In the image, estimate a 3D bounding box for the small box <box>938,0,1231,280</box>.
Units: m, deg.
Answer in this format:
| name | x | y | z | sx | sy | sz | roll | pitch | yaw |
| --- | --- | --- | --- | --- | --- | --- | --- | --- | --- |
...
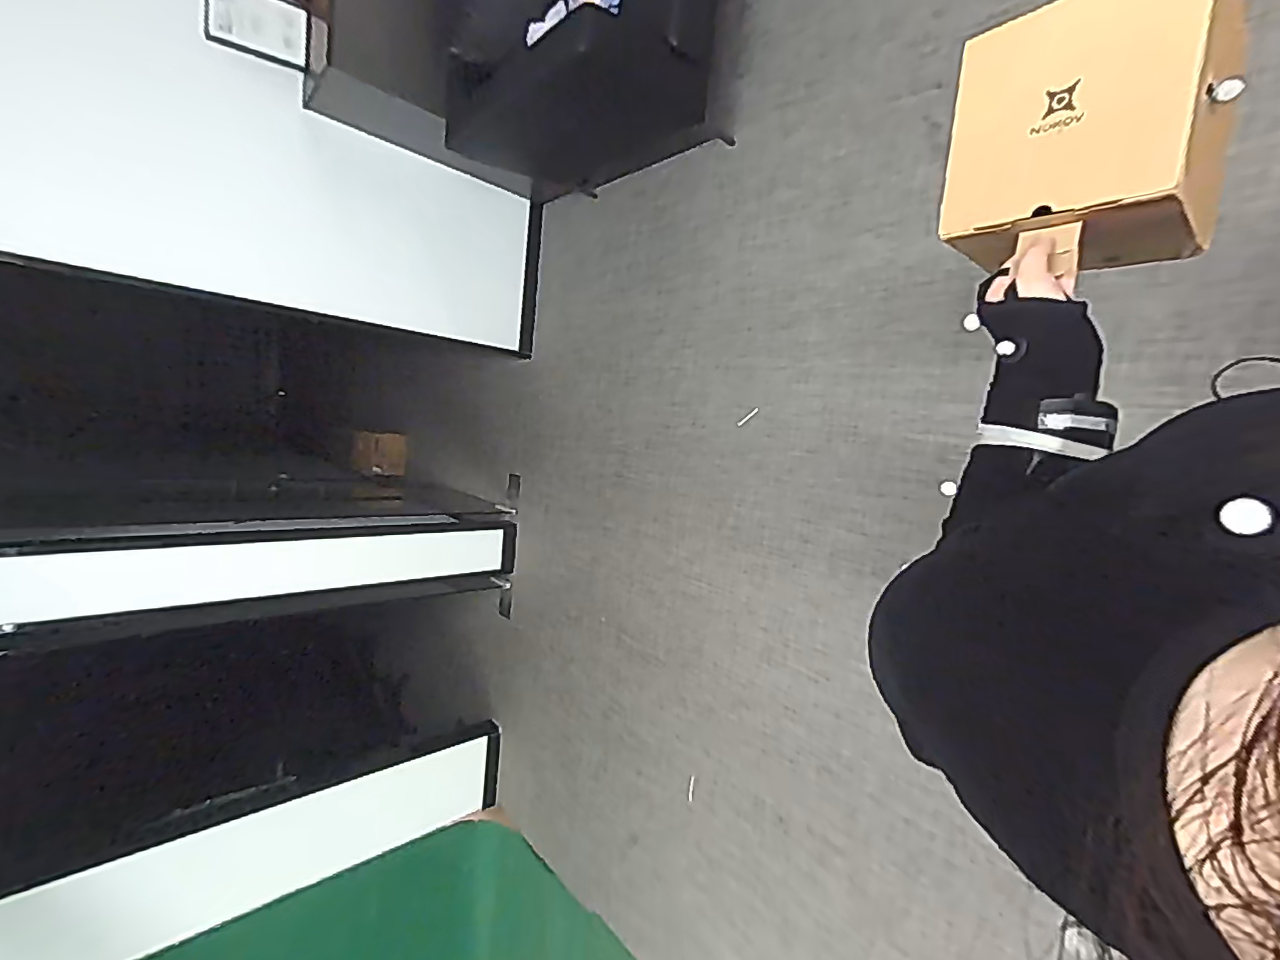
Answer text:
| name | x | y | z | sx | sy | sz | roll | pitch | yaw |
| --- | --- | --- | --- | --- | --- | --- | --- | --- | --- |
| small box | 0.403 | -0.300 | 0.493 | 0.168 | 0.176 | 0.179 | 13 | 100 | 49 |
